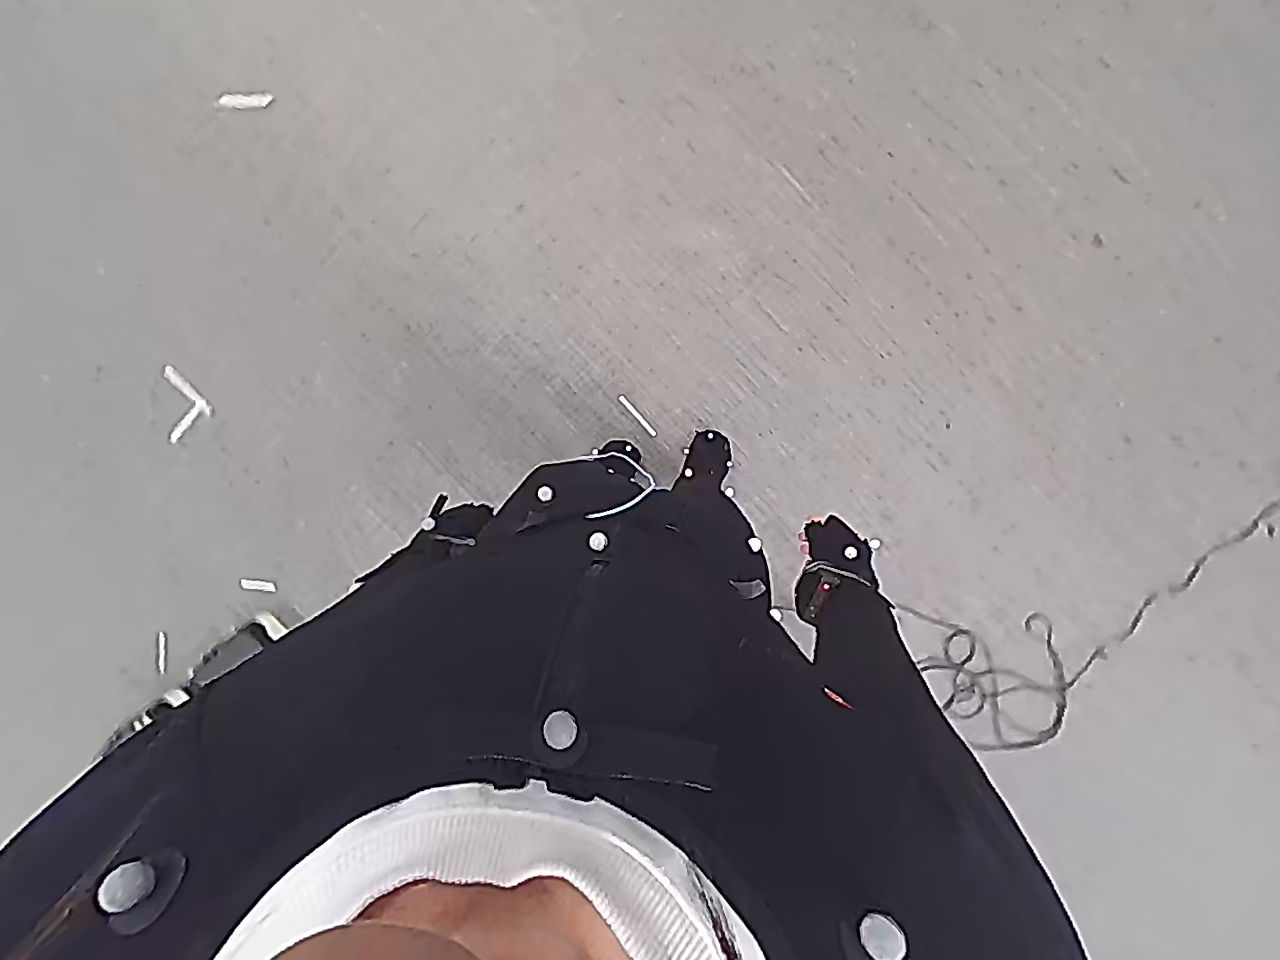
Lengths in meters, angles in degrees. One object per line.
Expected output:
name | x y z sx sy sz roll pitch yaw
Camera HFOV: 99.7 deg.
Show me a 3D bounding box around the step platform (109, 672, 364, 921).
step platform | -1.150 0.906 1.560 0.286 0.204 0.684 -44 90 8
